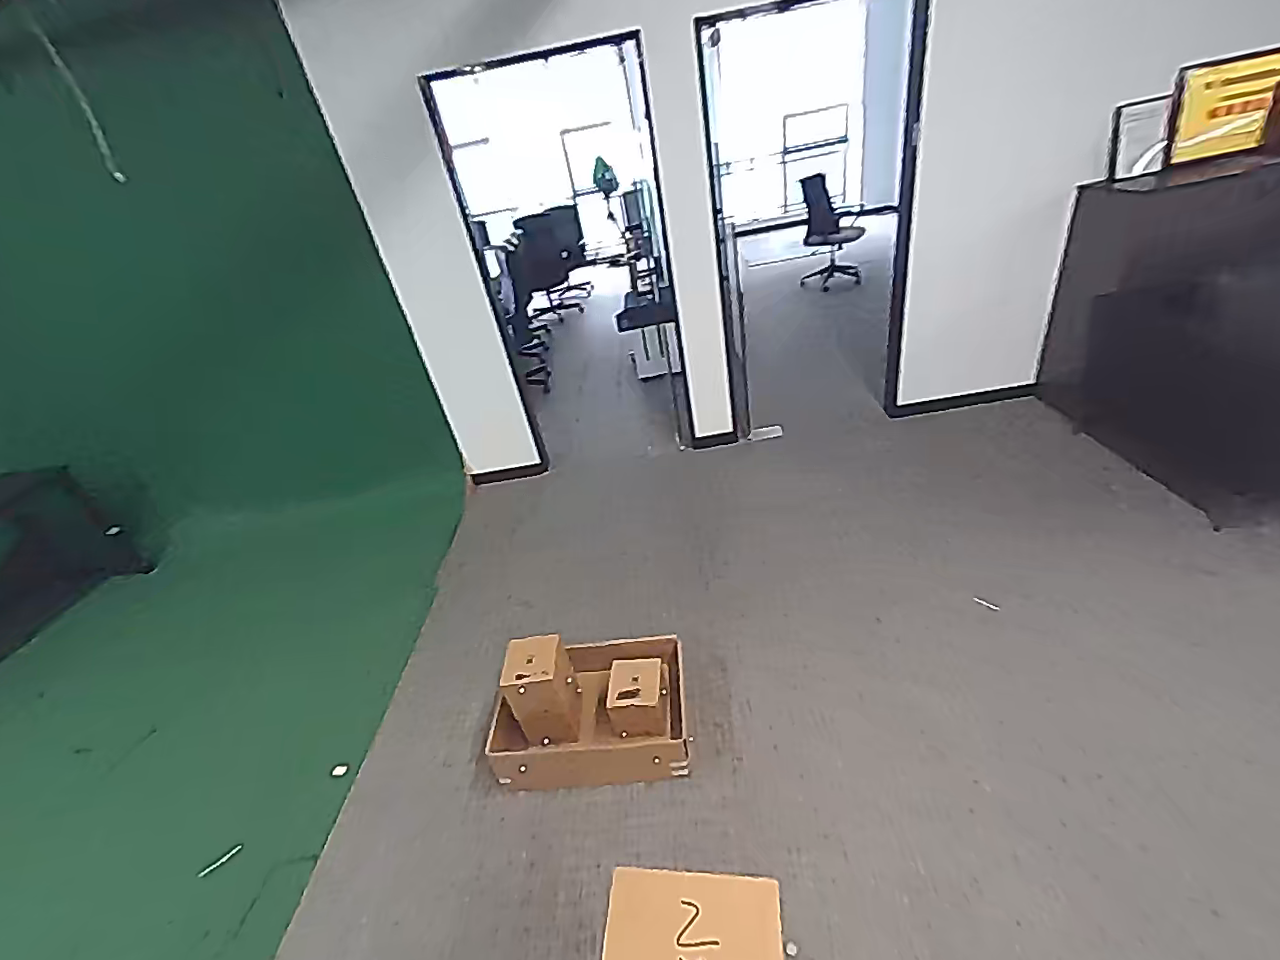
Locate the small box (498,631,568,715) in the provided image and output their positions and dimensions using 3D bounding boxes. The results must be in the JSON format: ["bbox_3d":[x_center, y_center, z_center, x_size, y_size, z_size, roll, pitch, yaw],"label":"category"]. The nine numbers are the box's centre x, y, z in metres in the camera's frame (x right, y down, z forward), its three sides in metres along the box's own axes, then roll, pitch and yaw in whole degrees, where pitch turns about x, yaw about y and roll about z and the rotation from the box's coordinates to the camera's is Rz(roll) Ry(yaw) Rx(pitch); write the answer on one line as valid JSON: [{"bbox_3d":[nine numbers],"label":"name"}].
[{"bbox_3d":[-0.331,0.608,1.705,0.168,0.176,0.179,-9,32,4],"label":"small box"}]
